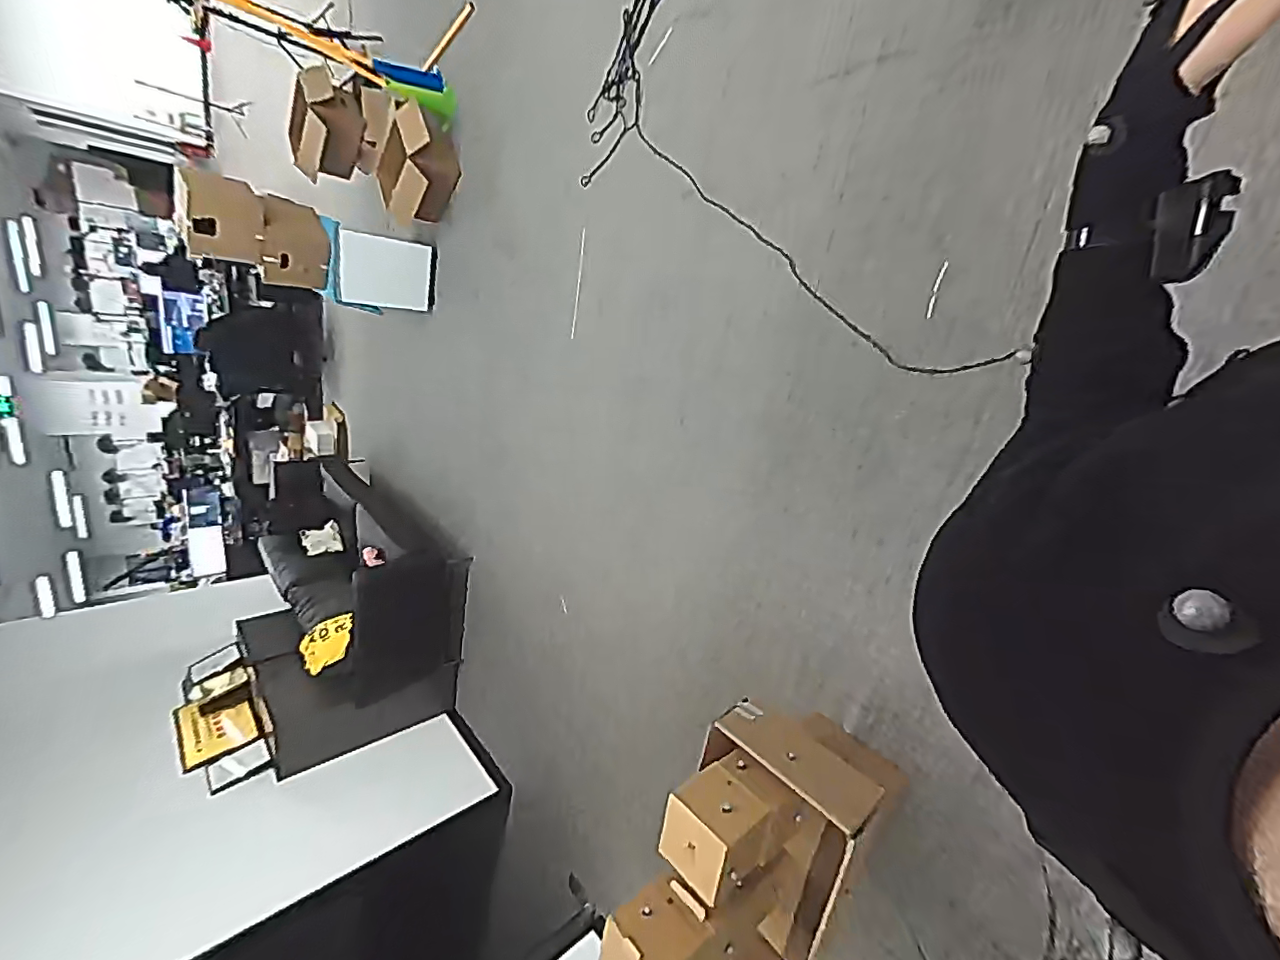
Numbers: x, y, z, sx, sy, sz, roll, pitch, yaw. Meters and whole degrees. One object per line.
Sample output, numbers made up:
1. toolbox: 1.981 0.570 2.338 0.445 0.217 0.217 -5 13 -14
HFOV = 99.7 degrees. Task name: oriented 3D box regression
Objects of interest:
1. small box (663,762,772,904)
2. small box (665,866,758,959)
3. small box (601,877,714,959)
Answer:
1. small box: 0.179 0.789 1.232 0.168 0.176 0.179 23 112 42
2. small box: 0.159 1.020 1.283 0.168 0.176 0.179 19 106 43
3. small box: 0.038 1.025 1.174 0.168 0.176 0.179 23 109 43
